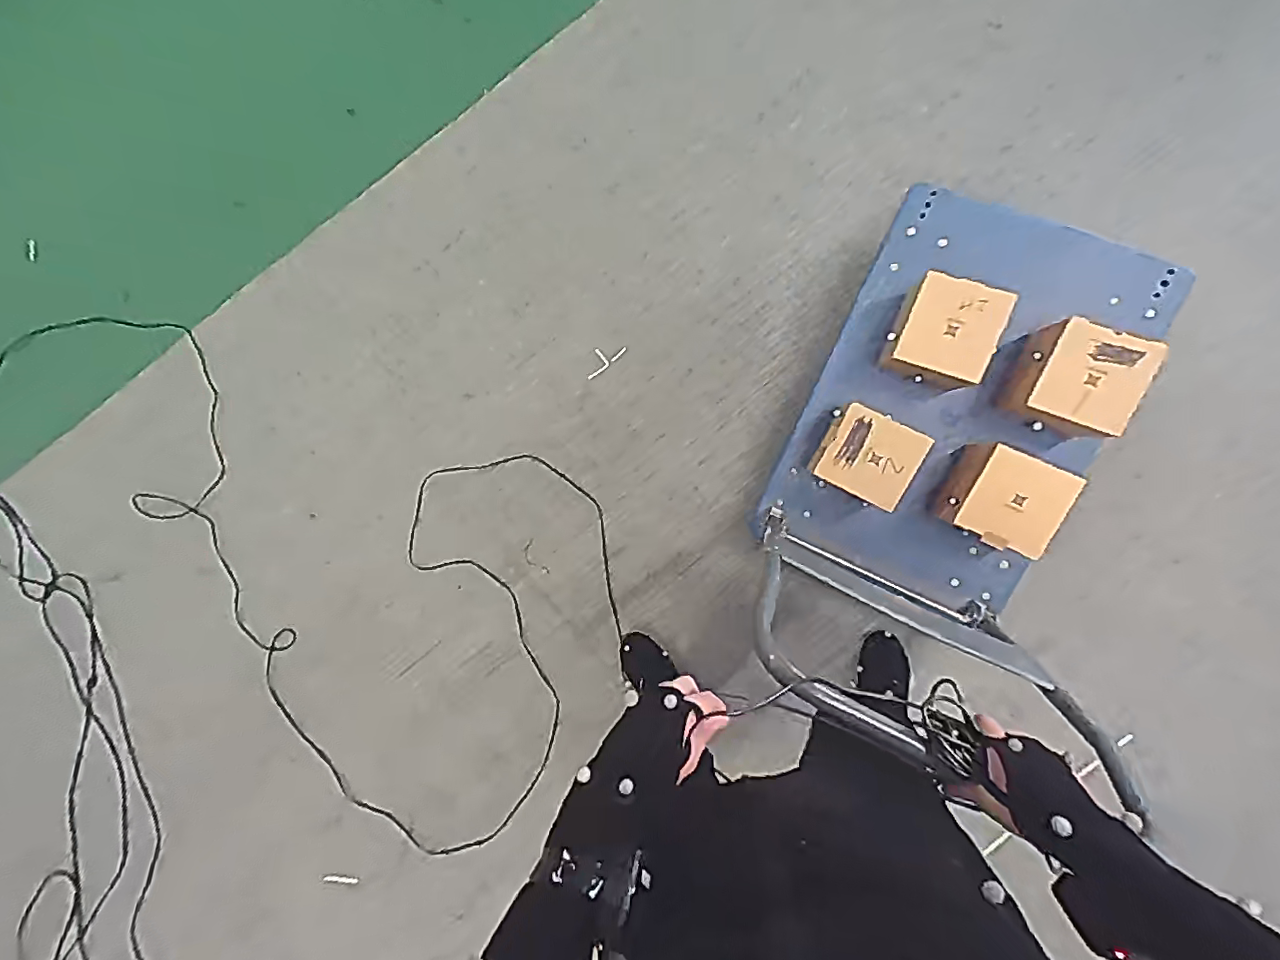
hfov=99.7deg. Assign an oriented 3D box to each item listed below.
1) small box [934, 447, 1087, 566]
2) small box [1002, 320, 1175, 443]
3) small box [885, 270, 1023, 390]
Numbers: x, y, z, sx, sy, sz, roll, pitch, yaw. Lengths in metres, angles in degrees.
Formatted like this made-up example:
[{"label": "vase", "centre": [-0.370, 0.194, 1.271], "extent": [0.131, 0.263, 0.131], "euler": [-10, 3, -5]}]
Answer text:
[{"label": "small box", "centre": [0.732, 0.043, 1.095], "extent": [0.168, 0.176, 0.179], "euler": [28, 101, 10]}, {"label": "small box", "centre": [0.846, -0.184, 1.046], "extent": [0.168, 0.176, 0.179], "euler": [25, 101, 11]}, {"label": "small box", "centre": [0.619, -0.292, 1.094], "extent": [0.168, 0.176, 0.179], "euler": [23, 100, 10]}]
